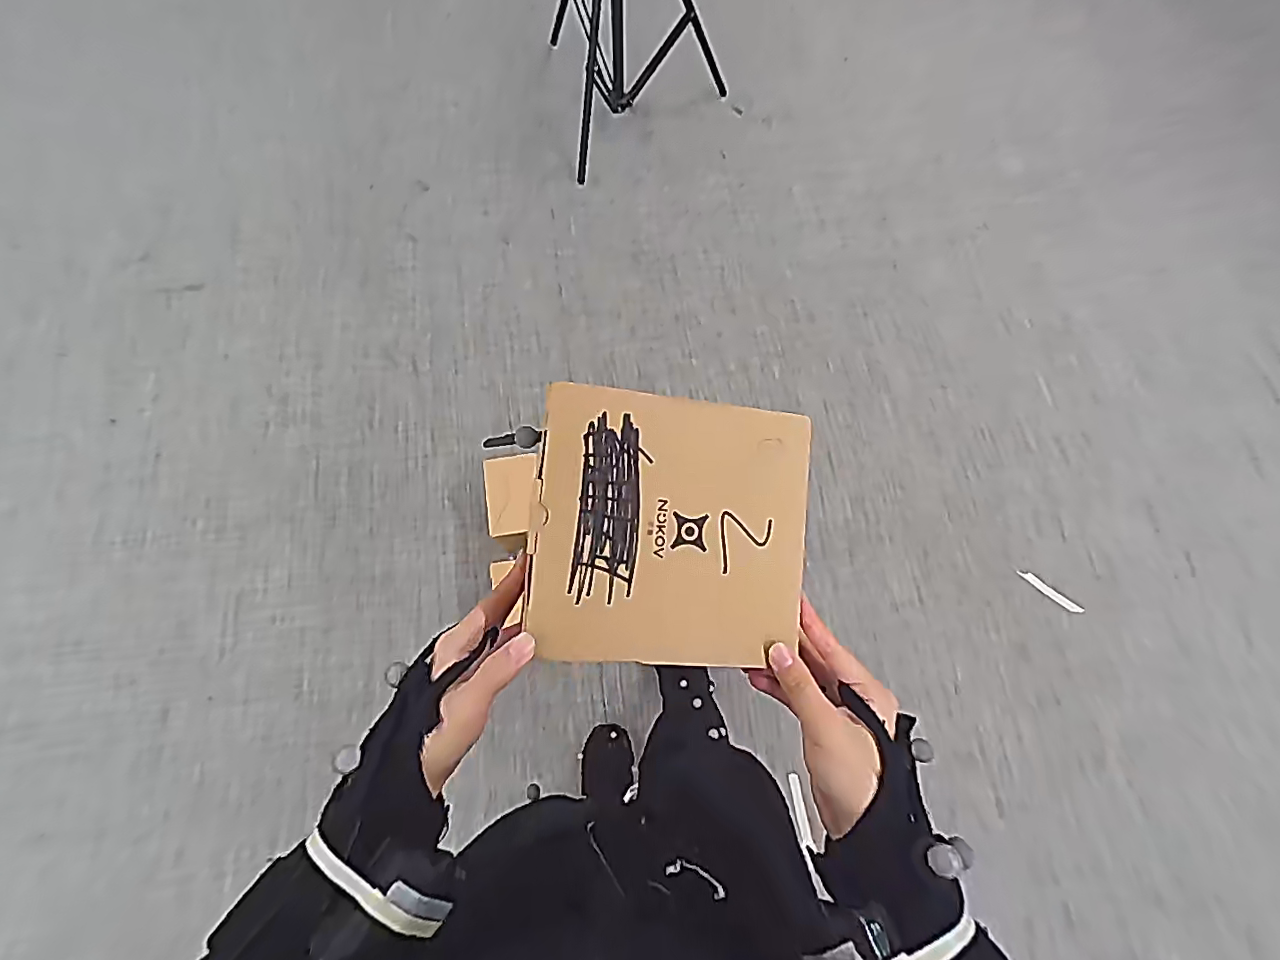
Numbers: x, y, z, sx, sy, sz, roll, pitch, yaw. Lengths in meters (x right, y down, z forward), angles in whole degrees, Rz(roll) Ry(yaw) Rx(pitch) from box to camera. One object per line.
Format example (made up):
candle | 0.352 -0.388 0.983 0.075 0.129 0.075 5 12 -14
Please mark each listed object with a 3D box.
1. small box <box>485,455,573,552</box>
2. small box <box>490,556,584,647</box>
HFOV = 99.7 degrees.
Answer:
small box | -0.253 0.056 1.243 0.168 0.176 0.179 -9 73 -4
small box | -0.217 0.268 1.181 0.179 0.176 0.168 -8 73 -3
